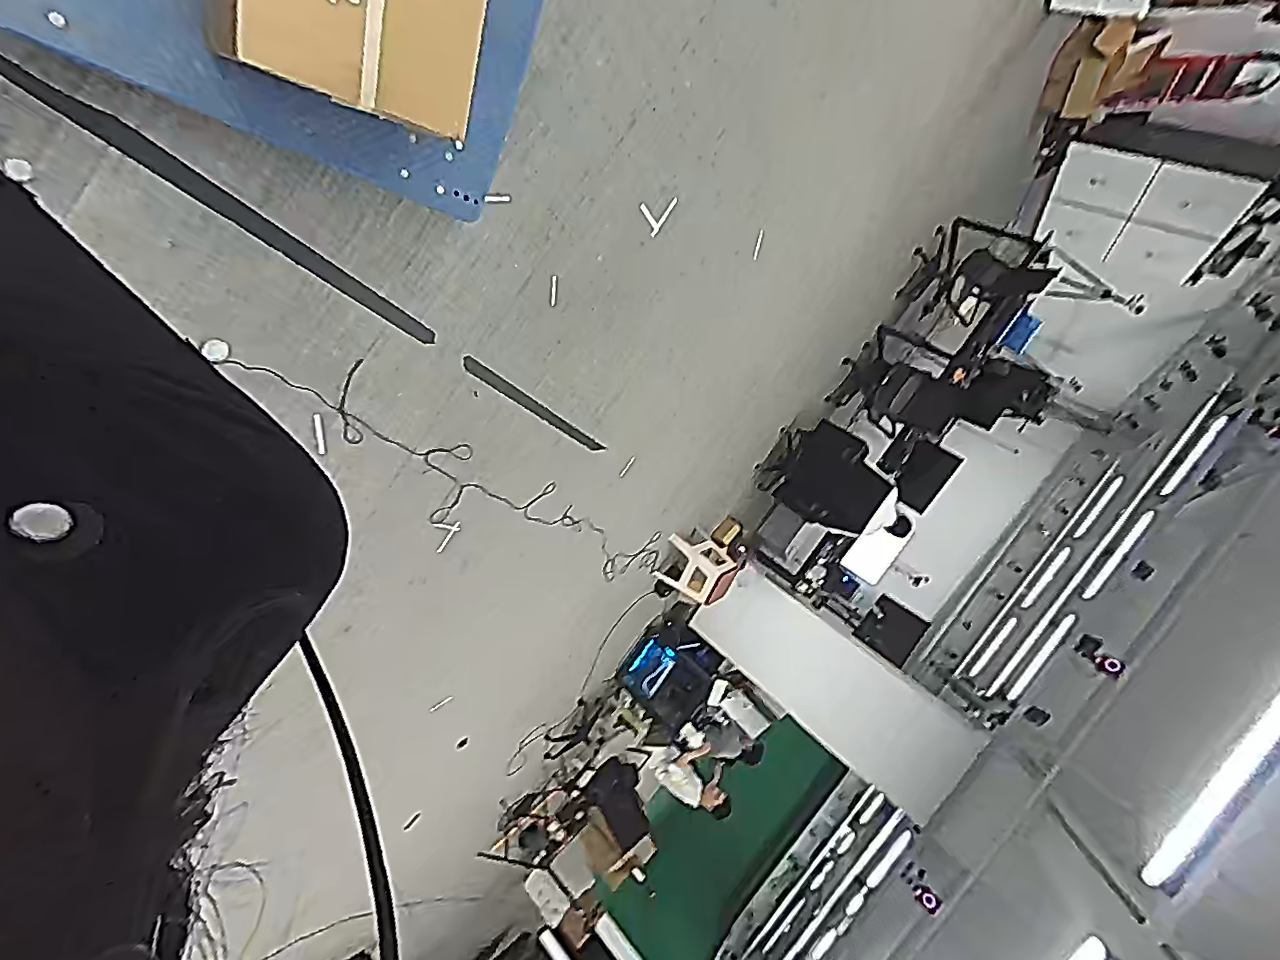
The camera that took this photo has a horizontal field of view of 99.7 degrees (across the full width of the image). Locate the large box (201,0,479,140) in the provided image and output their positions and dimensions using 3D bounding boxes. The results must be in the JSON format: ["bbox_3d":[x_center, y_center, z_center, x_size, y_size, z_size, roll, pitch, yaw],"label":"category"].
[{"bbox_3d":[-0.449,-0.807,0.809,0.320,0.320,0.408,-6,126,-43],"label":"large box"}]
